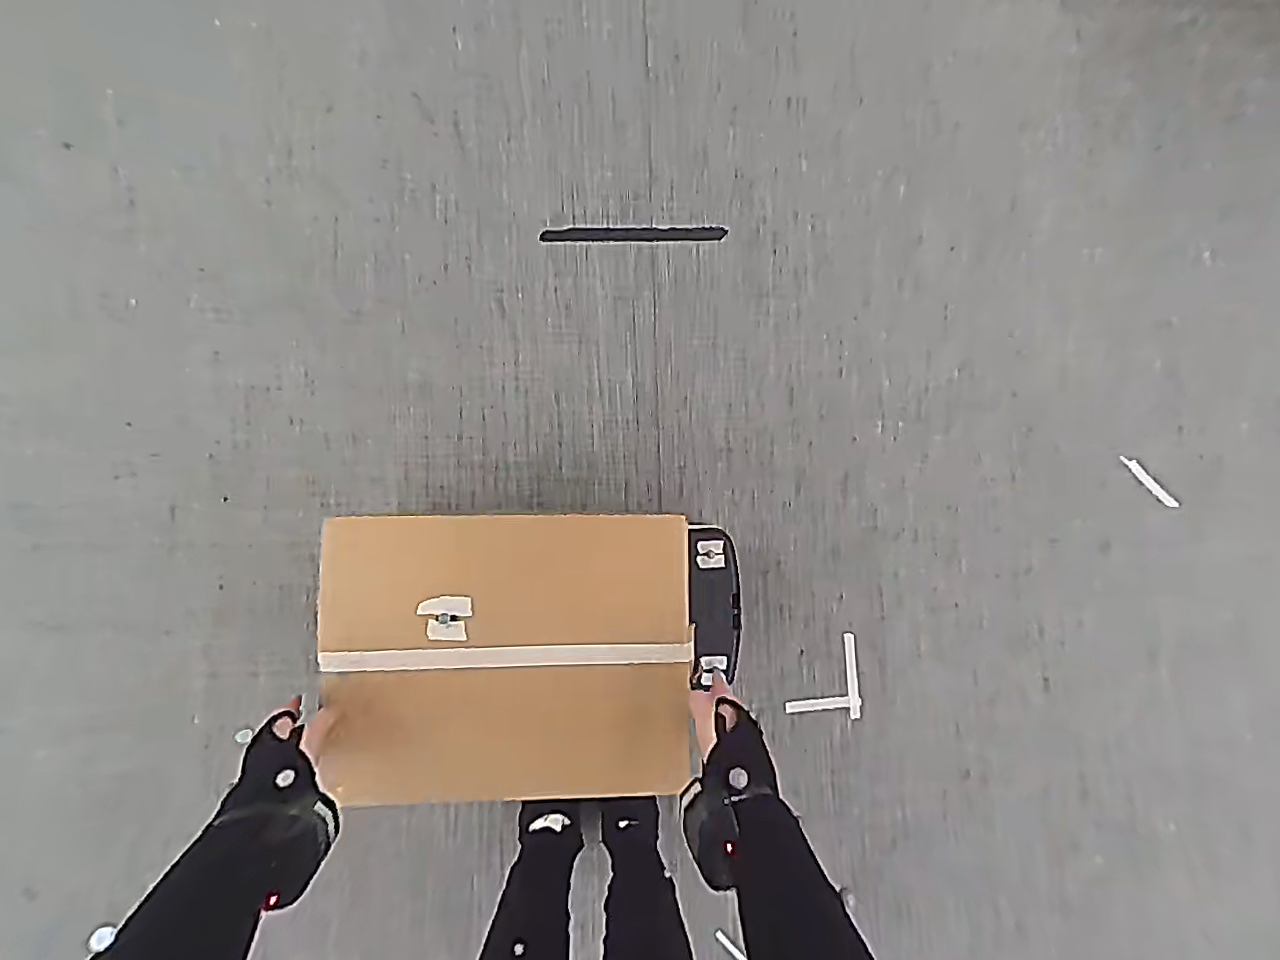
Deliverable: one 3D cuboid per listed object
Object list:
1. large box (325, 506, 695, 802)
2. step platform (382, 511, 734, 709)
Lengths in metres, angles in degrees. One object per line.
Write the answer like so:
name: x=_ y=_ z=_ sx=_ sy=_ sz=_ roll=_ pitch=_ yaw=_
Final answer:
large box: x=-0.145 y=0.196 z=0.741 sx=0.408 sy=0.320 sz=0.320 roll=0 pitch=86 yaw=-3
step platform: x=-0.176 y=0.226 z=0.977 sx=0.684 sy=0.204 sz=0.286 roll=5 pitch=86 yaw=-2
